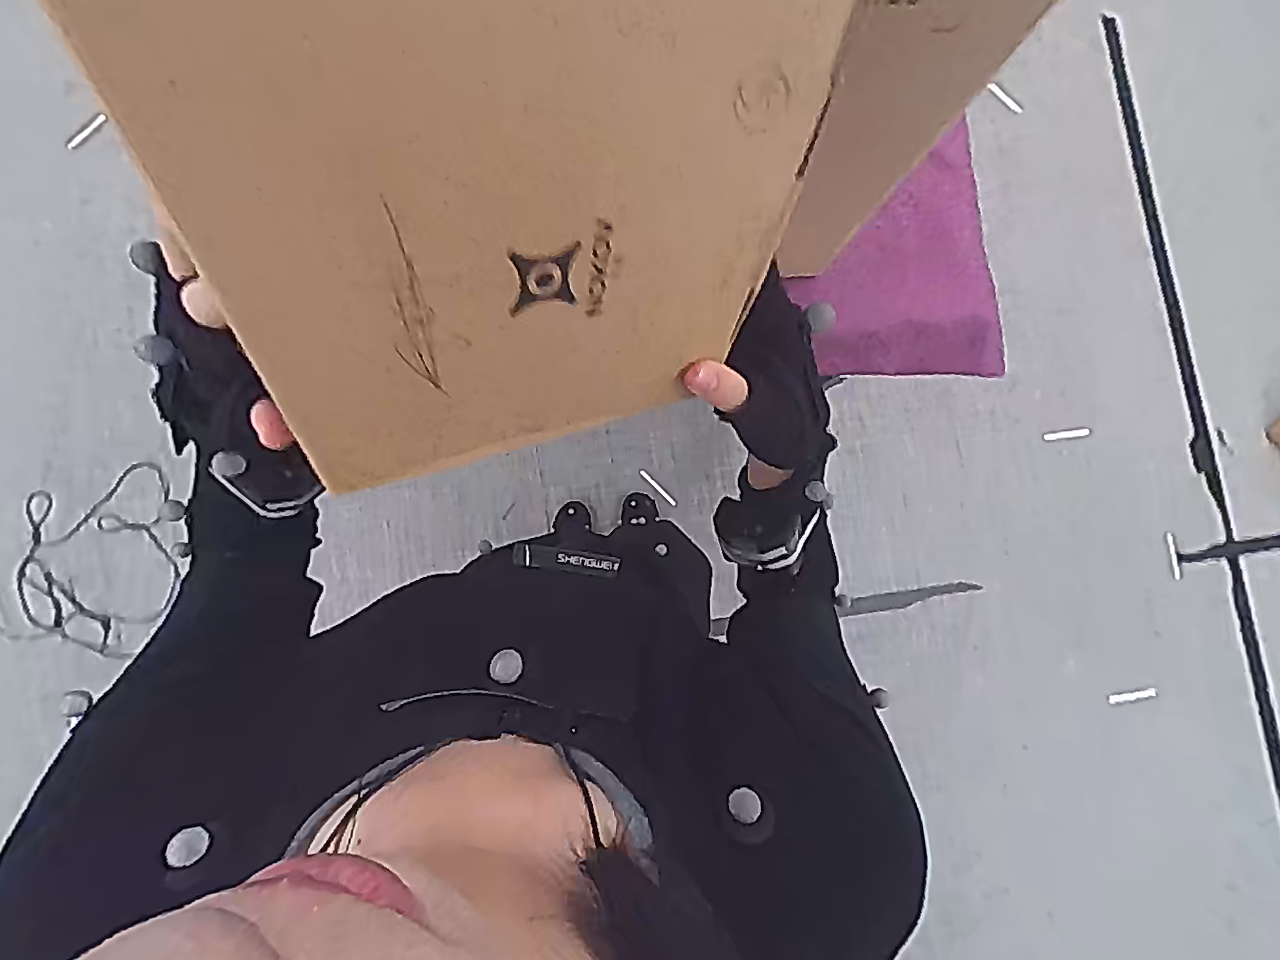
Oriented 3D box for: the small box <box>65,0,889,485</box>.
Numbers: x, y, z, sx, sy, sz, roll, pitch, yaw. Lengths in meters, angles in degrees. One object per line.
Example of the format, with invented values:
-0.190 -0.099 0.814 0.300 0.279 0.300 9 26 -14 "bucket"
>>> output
-0.058 -0.129 0.201 0.179 0.168 0.176 -17 62 -21 "small box"
